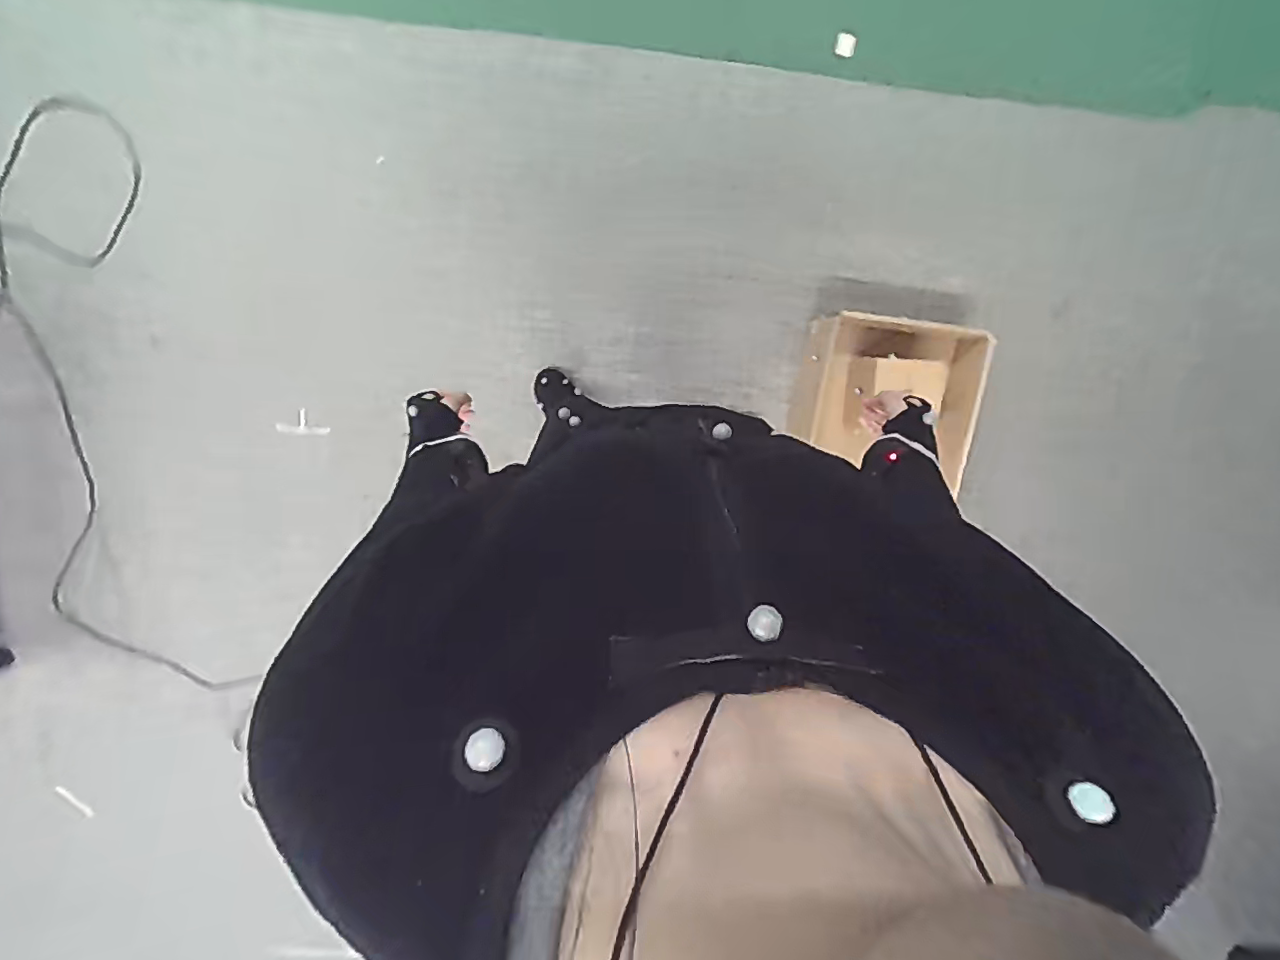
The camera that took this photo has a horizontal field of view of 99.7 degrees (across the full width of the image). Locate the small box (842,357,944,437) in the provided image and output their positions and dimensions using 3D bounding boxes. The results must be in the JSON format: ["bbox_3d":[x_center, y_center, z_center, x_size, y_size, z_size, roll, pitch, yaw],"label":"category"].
[{"bbox_3d":[0.621,-0.206,1.350,0.168,0.176,0.179,4,98,-2],"label":"small box"}]
